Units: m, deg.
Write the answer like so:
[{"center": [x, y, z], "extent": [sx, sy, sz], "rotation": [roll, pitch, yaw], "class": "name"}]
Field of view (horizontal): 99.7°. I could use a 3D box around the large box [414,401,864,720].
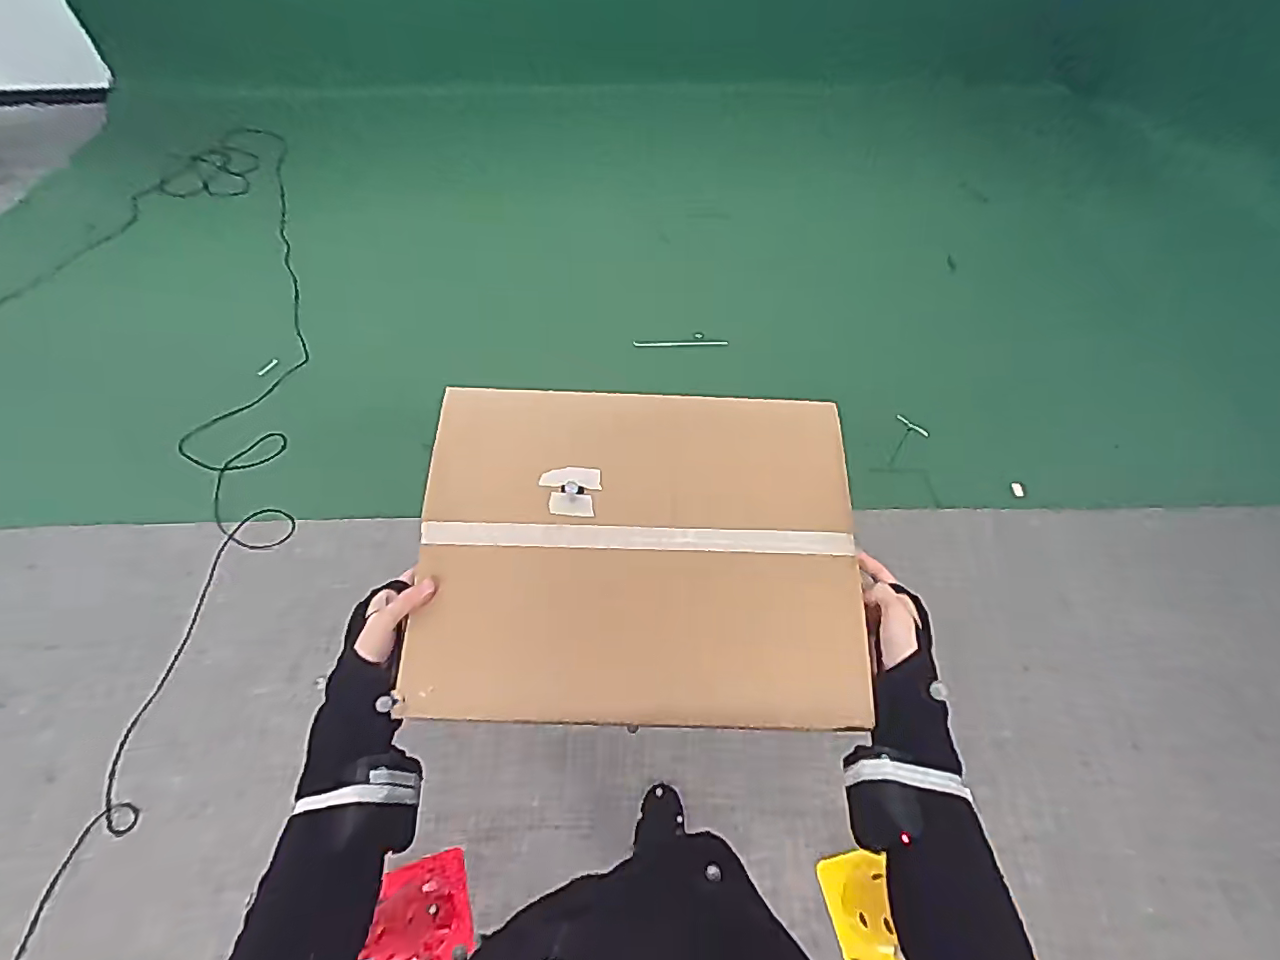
[{"center": [0.001, 0.112, 0.662], "extent": [0.408, 0.320, 0.320], "rotation": [1, 69, 0], "class": "large box"}]
